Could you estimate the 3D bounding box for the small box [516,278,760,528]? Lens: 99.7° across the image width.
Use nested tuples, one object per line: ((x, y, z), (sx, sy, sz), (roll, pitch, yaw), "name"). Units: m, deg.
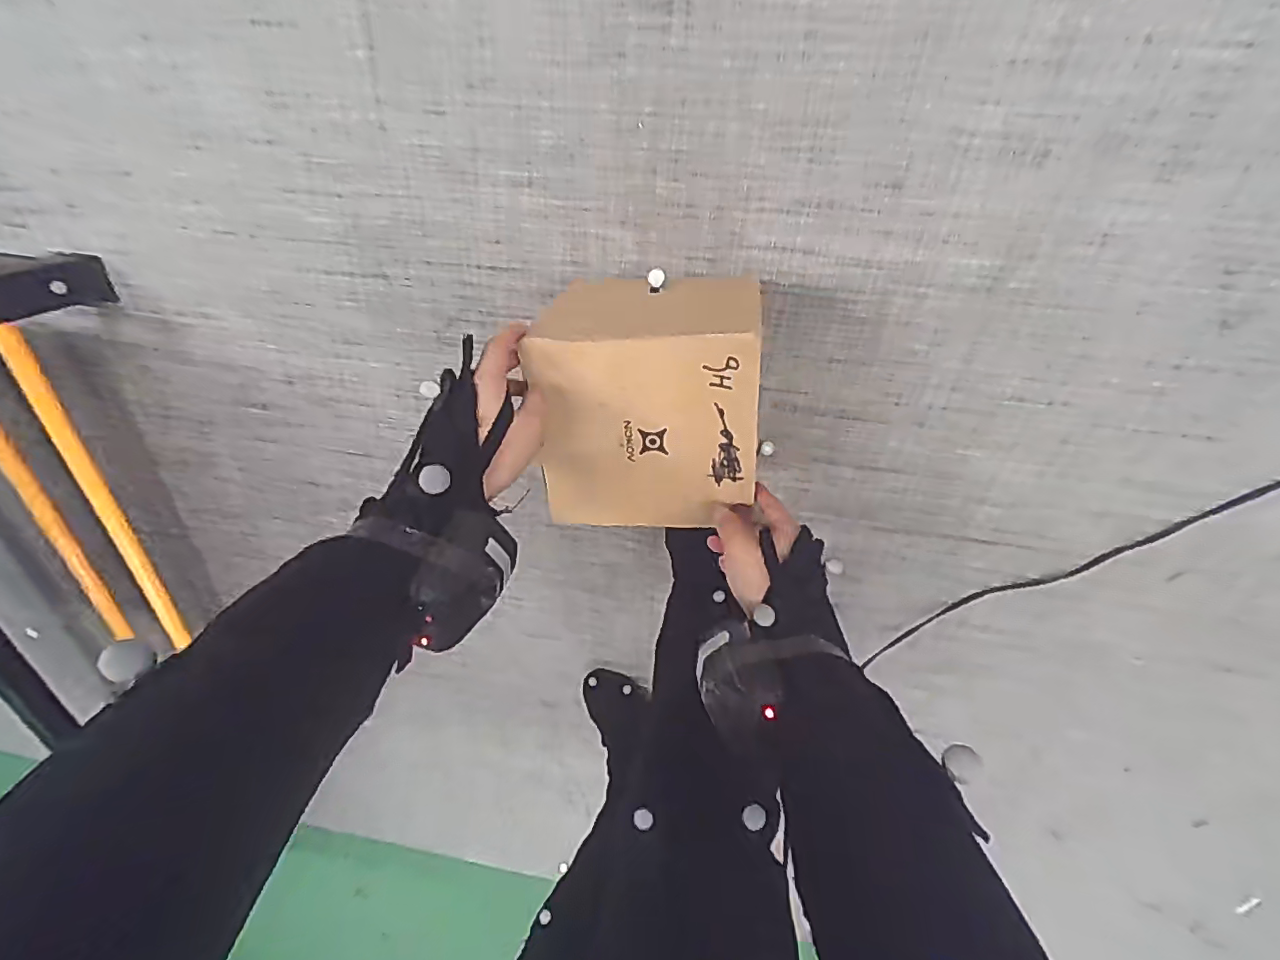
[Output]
((0.015, -0.075, 0.484), (0.179, 0.176, 0.168), (1, 124, 12), "small box")
